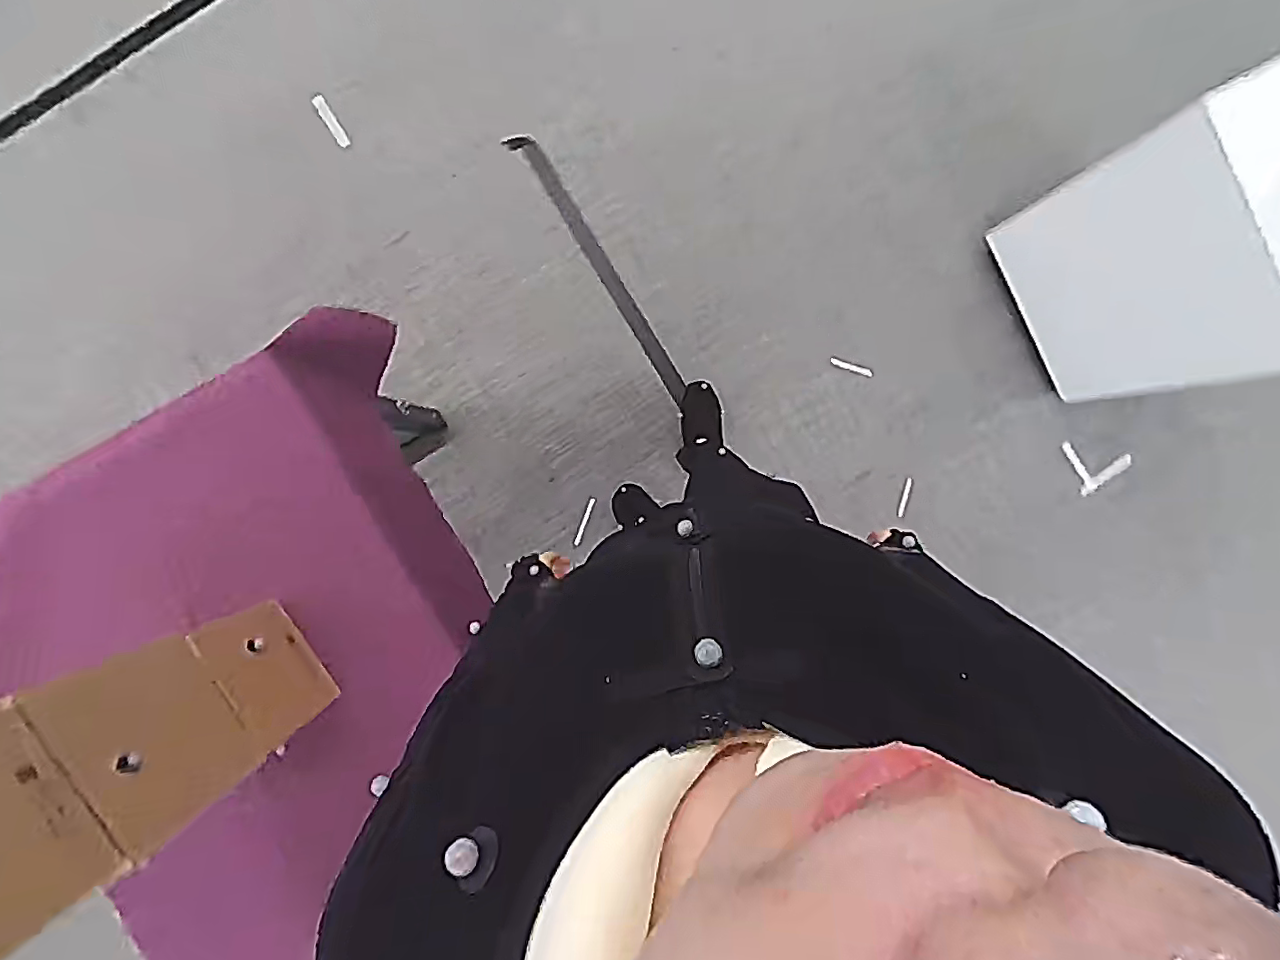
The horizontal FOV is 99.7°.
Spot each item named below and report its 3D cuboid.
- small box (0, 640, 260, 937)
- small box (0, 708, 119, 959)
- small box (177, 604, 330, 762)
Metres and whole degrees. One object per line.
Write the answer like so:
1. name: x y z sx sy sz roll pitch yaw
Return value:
1. small box: -0.529 0.289 0.525 0.168 0.176 0.179 -34 92 -1
2. small box: -0.532 0.294 0.361 0.179 0.176 0.168 -33 93 0
3. small box: -0.536 0.283 0.689 0.179 0.176 0.168 -33 92 0
